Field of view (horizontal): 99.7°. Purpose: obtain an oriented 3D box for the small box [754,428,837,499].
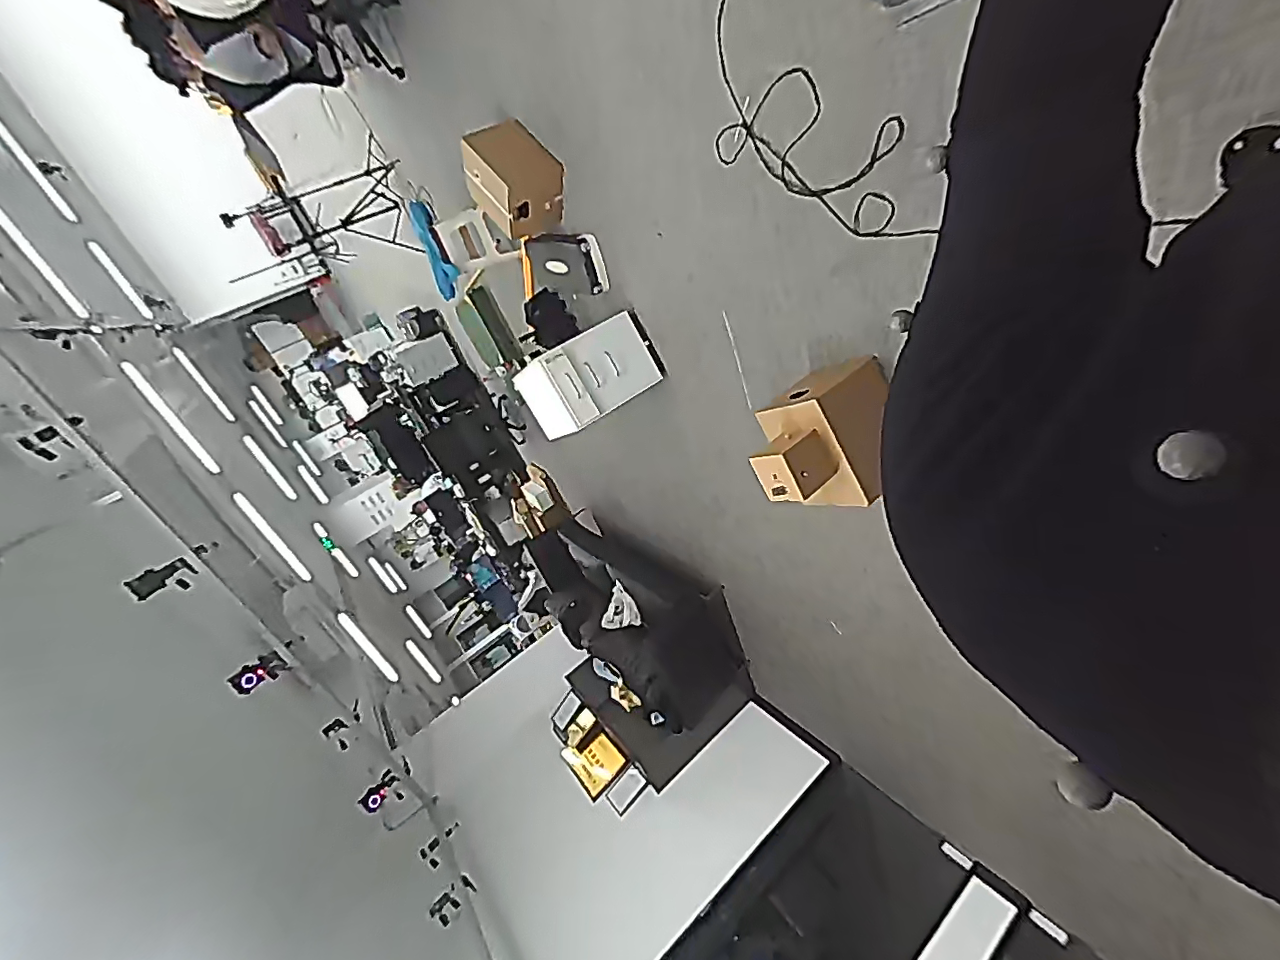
[{"bbox_3d":[0.521,-0.052,1.798,0.179,0.176,0.168,60,156,-12],"label":"small box"}]
